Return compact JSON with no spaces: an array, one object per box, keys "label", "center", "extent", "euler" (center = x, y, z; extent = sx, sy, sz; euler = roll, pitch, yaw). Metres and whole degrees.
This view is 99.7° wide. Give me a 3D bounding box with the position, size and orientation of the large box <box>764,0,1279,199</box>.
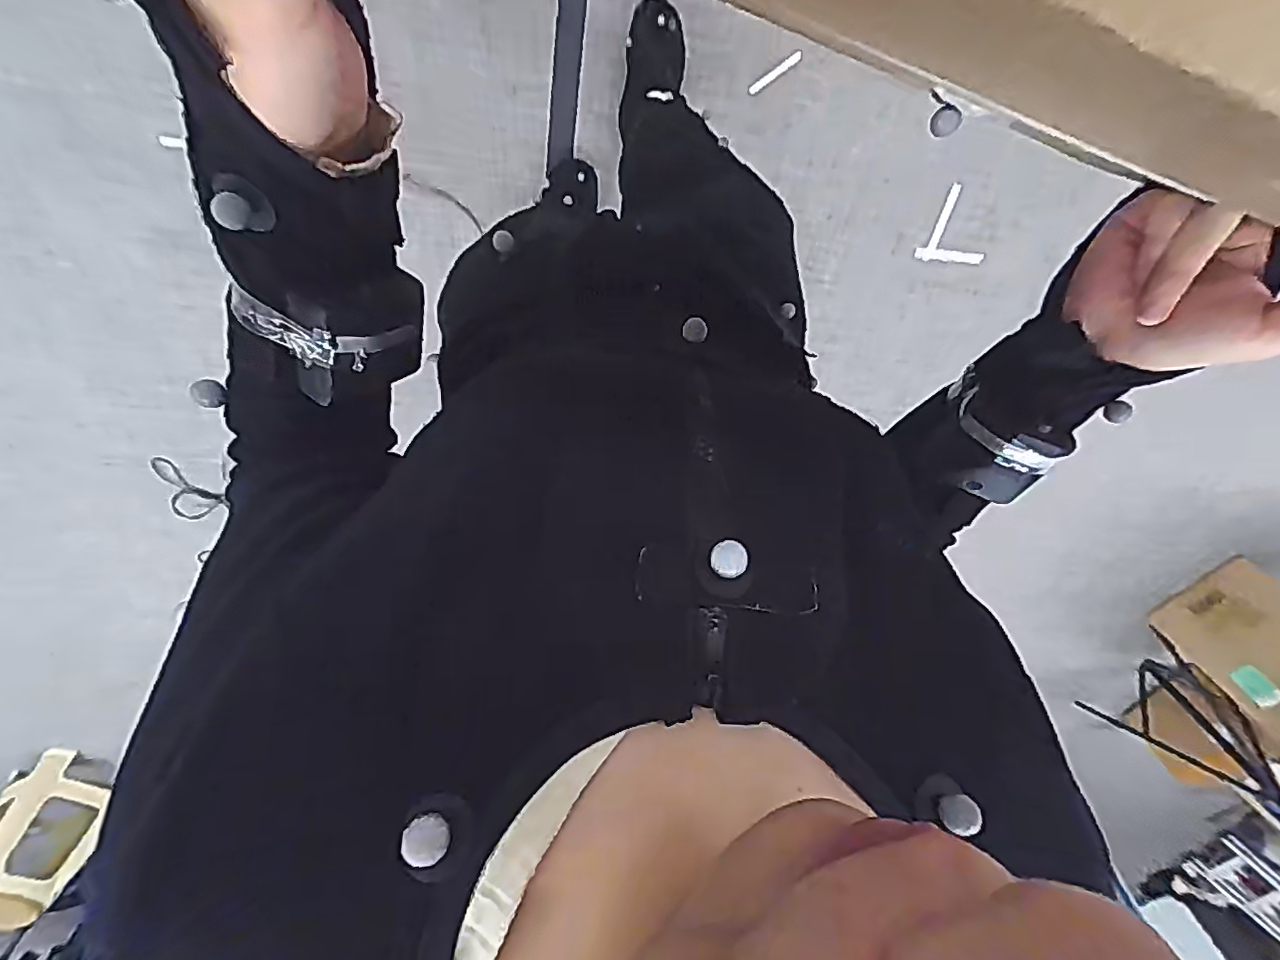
[{"label":"large box","center":[0.113,-0.274,0.089],"extent":[0.408,0.320,0.320],"euler":[13,132,-10]}]
